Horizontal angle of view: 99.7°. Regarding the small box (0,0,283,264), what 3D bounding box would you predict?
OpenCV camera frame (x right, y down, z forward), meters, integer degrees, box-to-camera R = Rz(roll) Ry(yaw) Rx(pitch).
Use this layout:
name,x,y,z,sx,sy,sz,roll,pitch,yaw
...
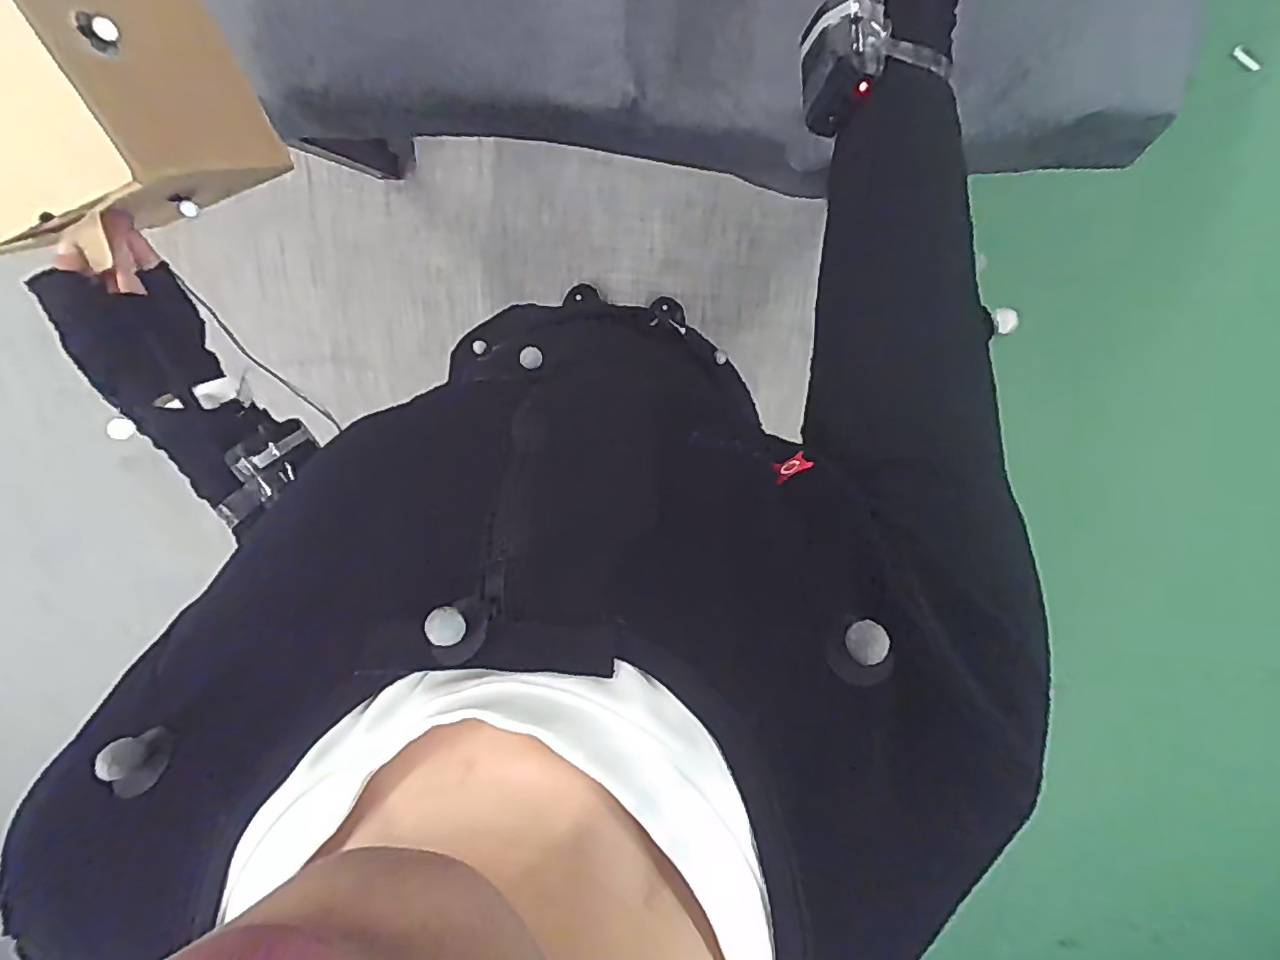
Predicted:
name,x,y,z,sx,sy,sz,roll,pitch,yaw
small box,-0.410,-0.278,0.382,0.168,0.176,0.179,-14,120,13
